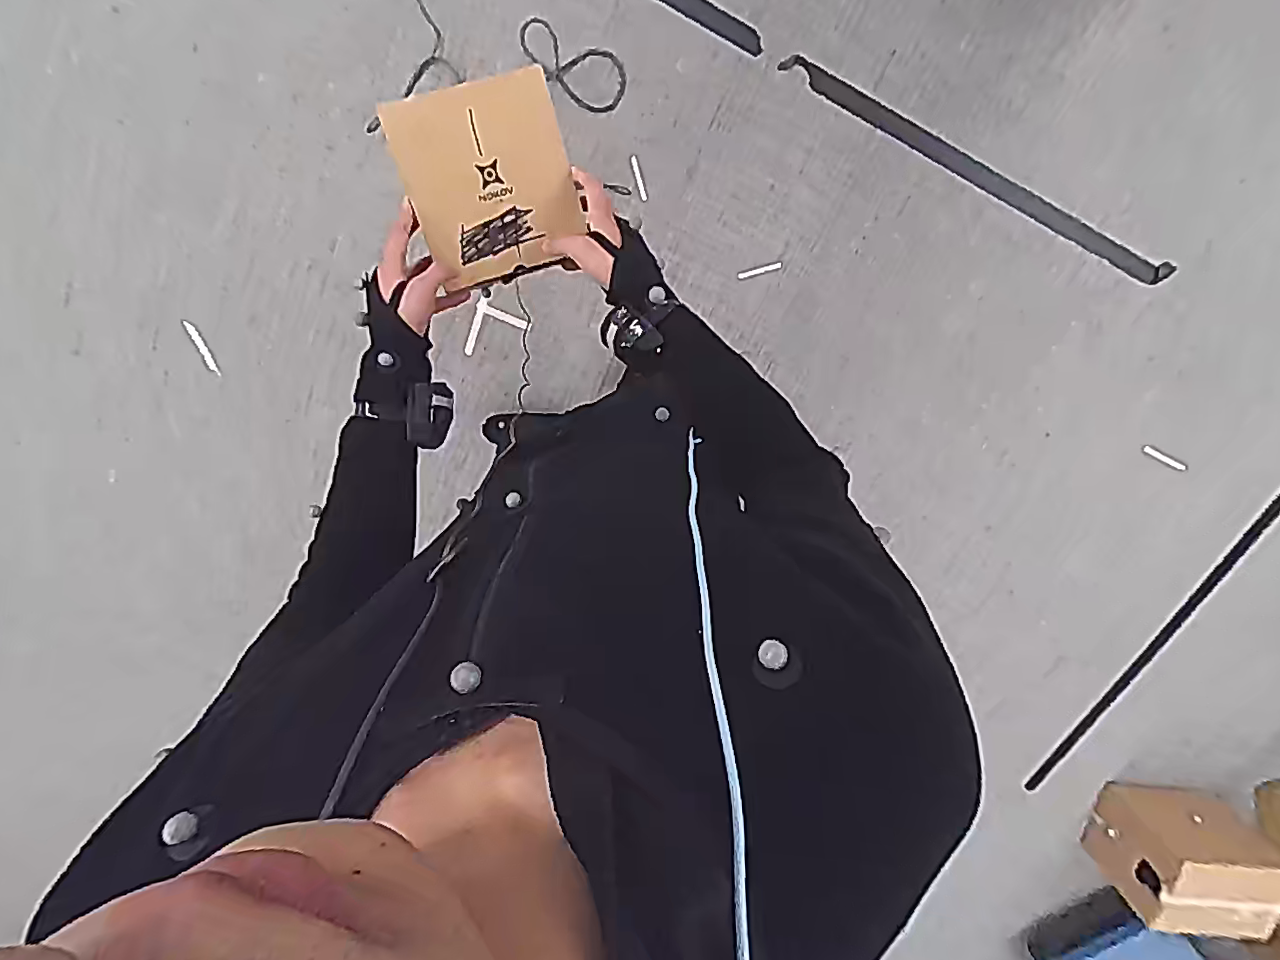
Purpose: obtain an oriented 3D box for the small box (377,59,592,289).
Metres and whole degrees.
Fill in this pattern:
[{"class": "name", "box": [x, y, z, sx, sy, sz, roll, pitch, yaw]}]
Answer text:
[{"class": "small box", "box": [-0.161, -0.327, 0.610, 0.168, 0.176, 0.179, -18, 112, -5]}]
